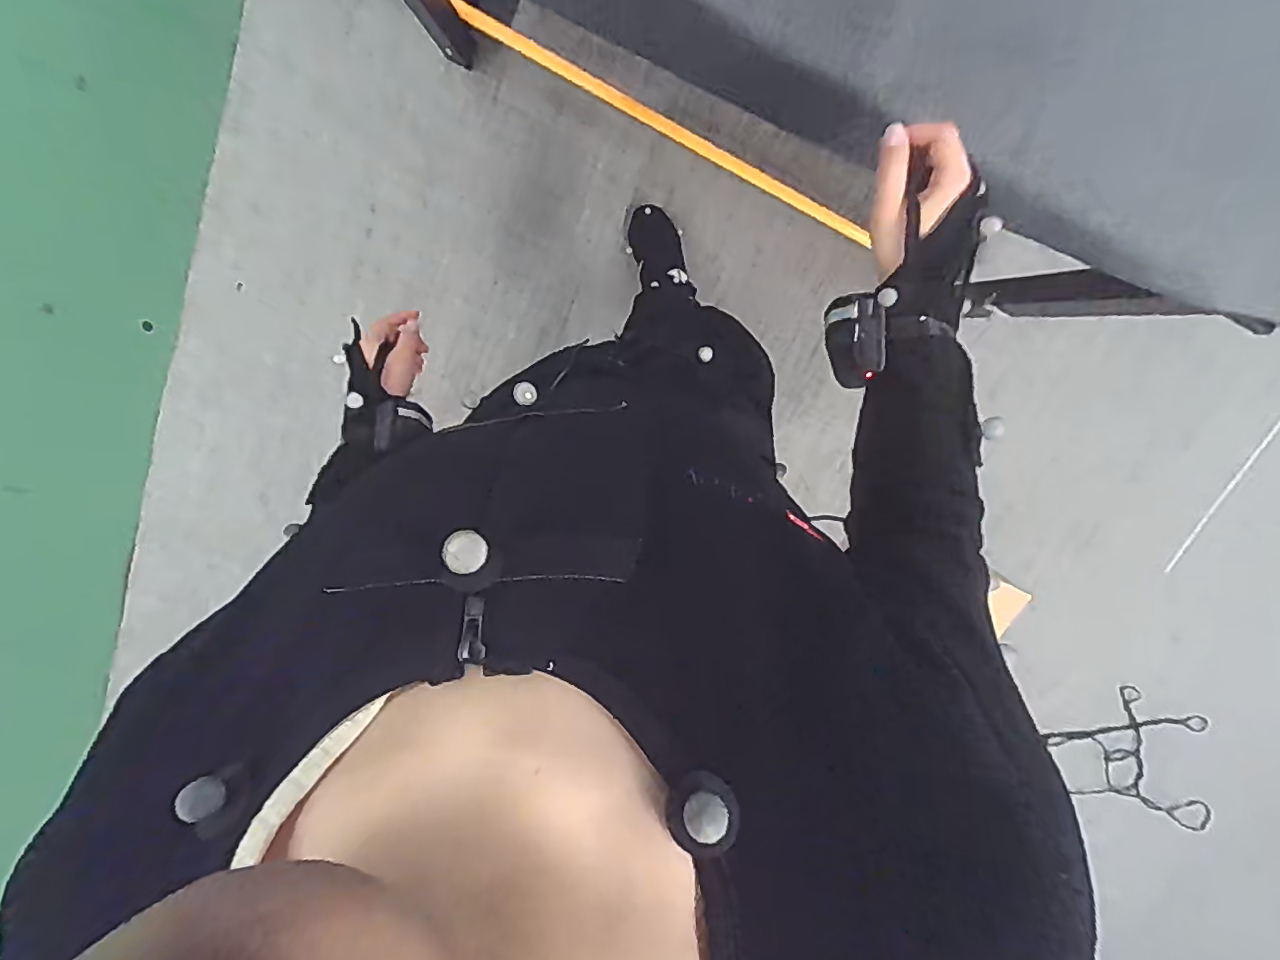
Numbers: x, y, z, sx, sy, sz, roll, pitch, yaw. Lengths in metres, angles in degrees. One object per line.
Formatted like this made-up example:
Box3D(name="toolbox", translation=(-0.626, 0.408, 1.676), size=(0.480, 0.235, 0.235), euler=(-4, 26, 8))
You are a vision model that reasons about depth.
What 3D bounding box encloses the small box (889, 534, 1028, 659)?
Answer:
Box3D(name="small box", translation=(0.679, 0.248, 1.184), size=(0.168, 0.176, 0.179), euler=(25, 104, -8))
